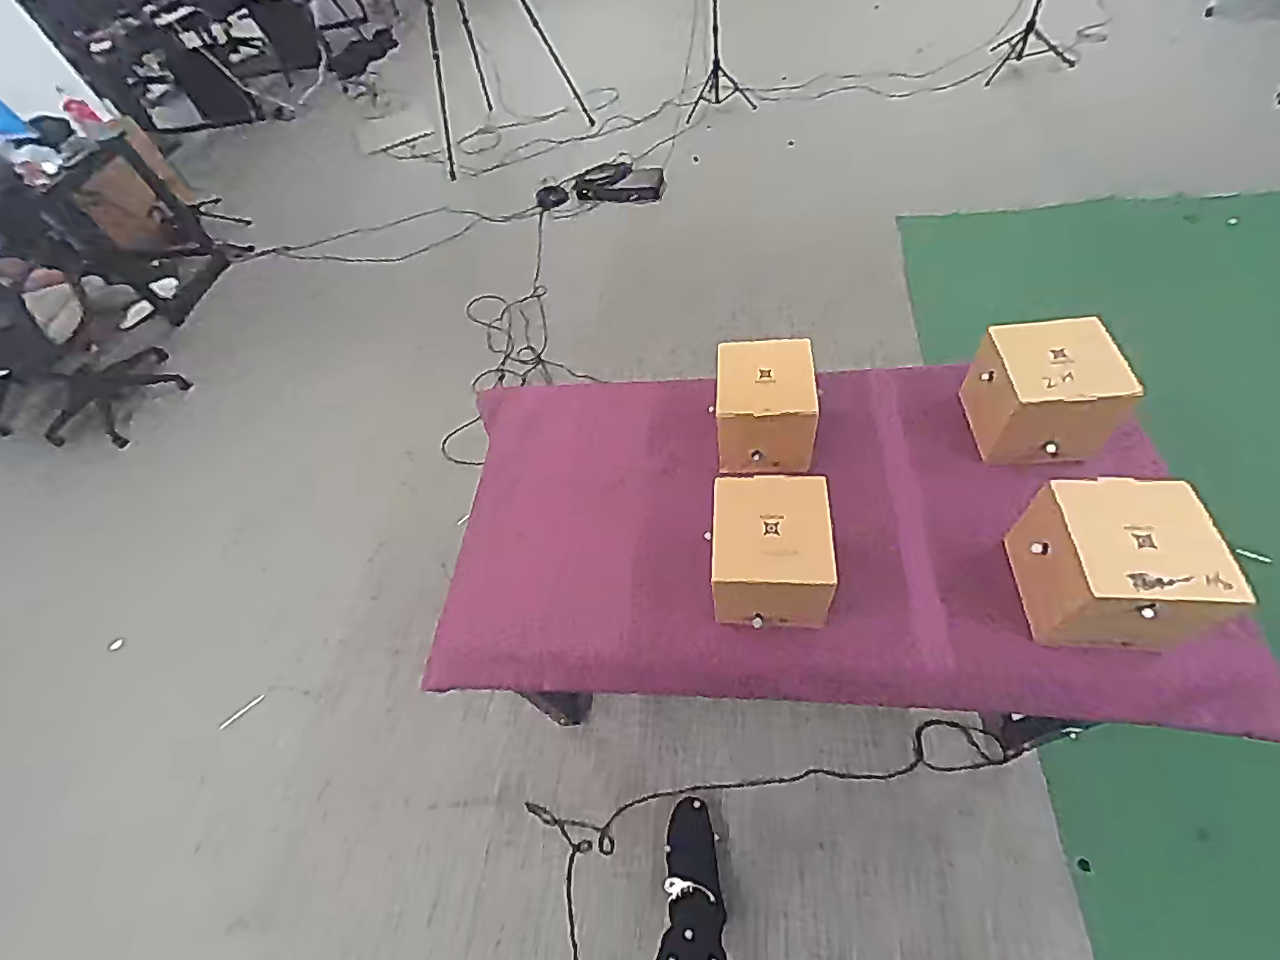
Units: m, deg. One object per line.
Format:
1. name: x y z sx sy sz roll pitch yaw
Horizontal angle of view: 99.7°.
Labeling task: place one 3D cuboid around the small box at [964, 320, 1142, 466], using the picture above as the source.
1. small box: 0.679 -0.144 0.919 0.168 0.176 0.179 -3 55 12

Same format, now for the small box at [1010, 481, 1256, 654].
1. small box: 0.645 0.120 0.743 0.168 0.176 0.179 0 53 12

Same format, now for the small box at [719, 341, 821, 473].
1. small box: 0.231 -0.132 0.996 0.168 0.176 0.179 0 57 9
